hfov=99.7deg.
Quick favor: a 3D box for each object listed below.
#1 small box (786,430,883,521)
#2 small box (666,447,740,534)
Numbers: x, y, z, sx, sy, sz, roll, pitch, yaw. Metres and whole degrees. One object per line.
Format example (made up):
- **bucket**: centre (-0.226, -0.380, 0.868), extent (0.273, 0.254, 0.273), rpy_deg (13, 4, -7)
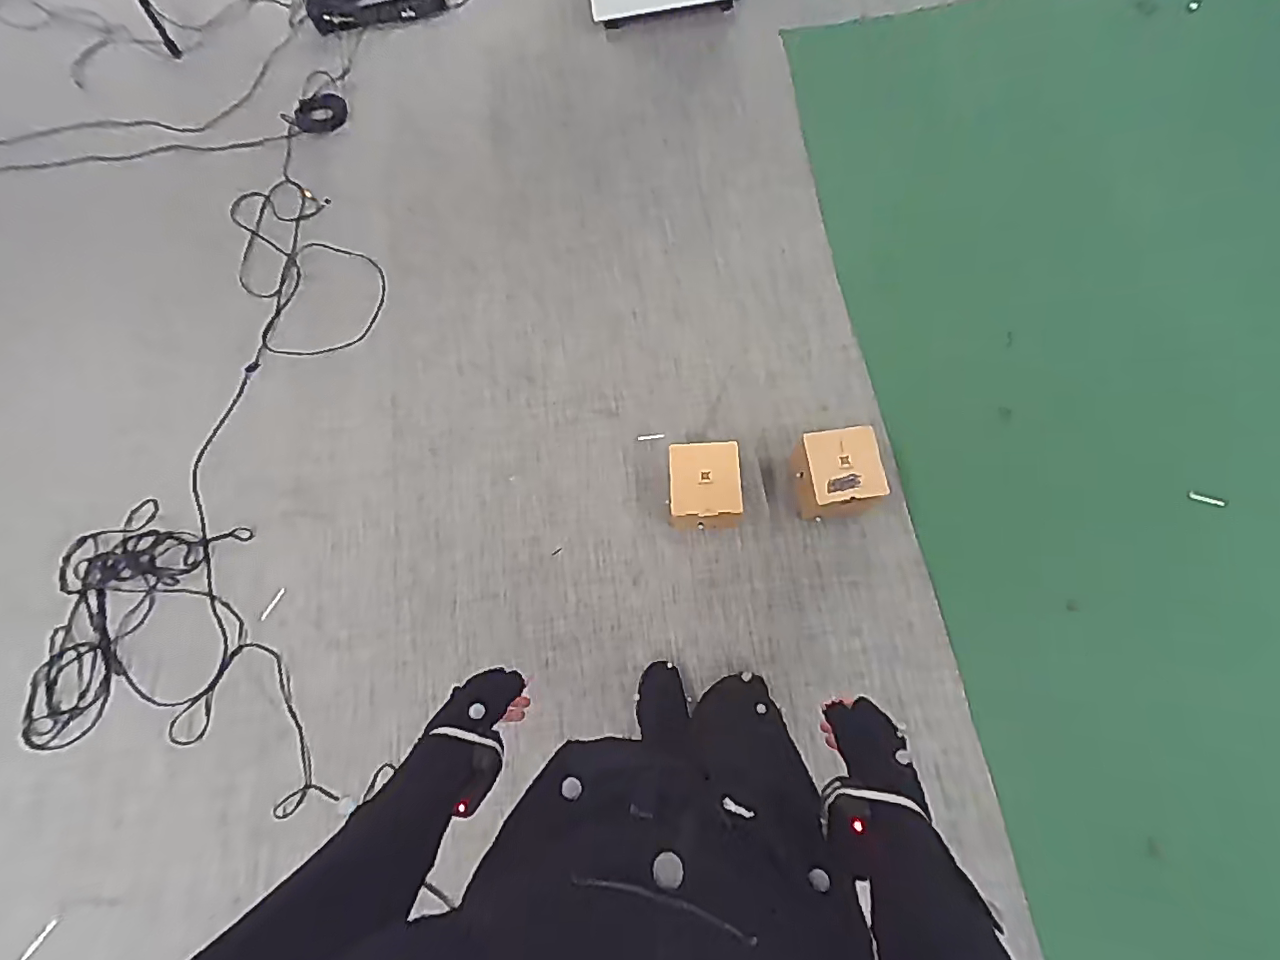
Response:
- **small box**: centre (0.467, -0.003, 1.325), extent (0.168, 0.176, 0.179), rpy_deg (-8, 72, 2)
- **small box**: centre (0.150, 0.029, 1.339), extent (0.168, 0.176, 0.179), rpy_deg (-3, 74, 3)
